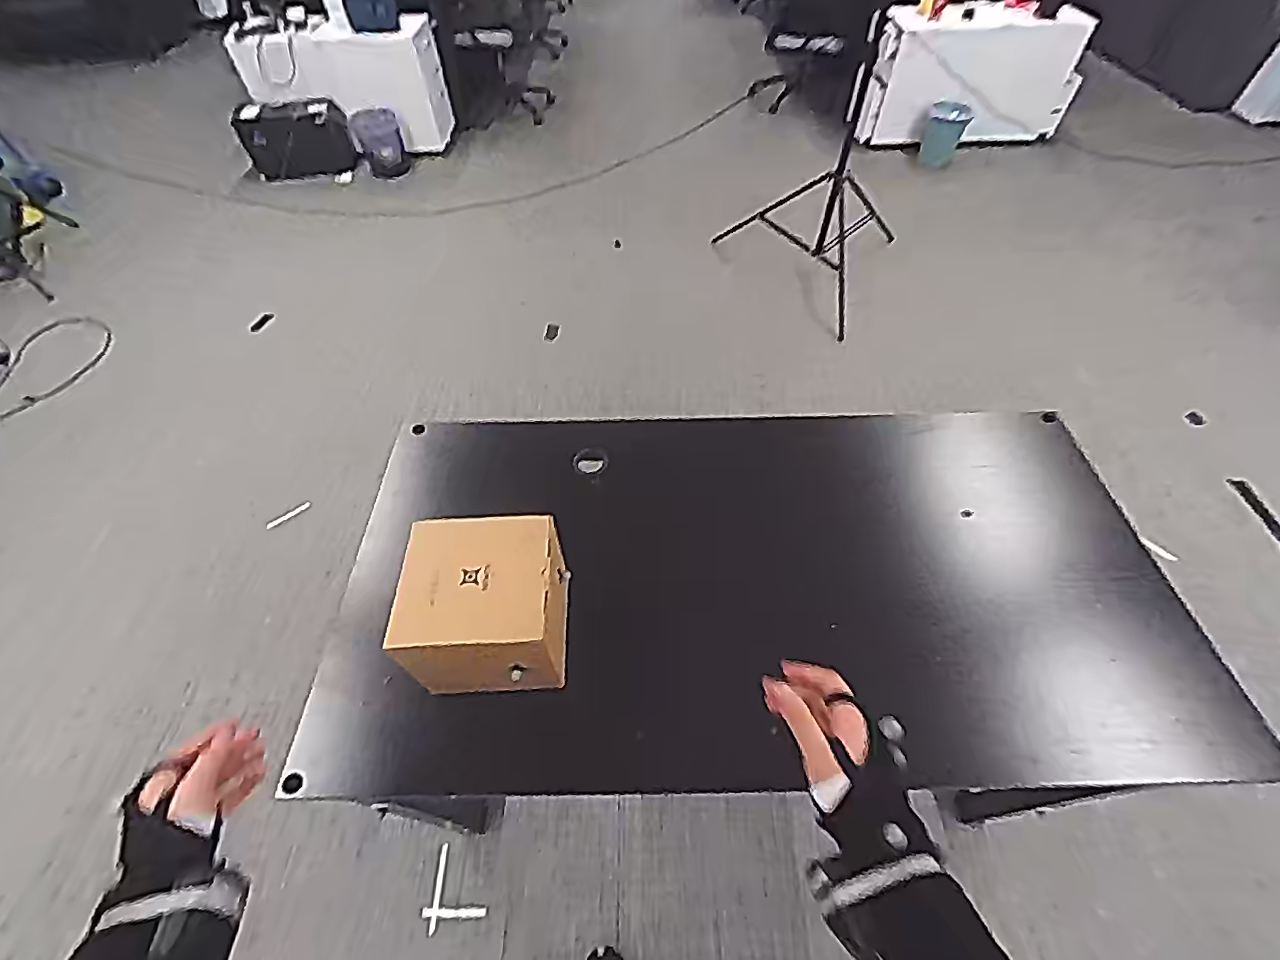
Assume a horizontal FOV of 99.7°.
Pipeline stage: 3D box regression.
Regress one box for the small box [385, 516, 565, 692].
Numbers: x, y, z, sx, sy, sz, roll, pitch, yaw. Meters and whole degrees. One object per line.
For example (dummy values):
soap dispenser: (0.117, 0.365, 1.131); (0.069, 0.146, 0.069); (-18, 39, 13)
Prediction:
small box: (-0.193, 0.163, 0.697); (0.179, 0.176, 0.168); (-4, 52, -1)
